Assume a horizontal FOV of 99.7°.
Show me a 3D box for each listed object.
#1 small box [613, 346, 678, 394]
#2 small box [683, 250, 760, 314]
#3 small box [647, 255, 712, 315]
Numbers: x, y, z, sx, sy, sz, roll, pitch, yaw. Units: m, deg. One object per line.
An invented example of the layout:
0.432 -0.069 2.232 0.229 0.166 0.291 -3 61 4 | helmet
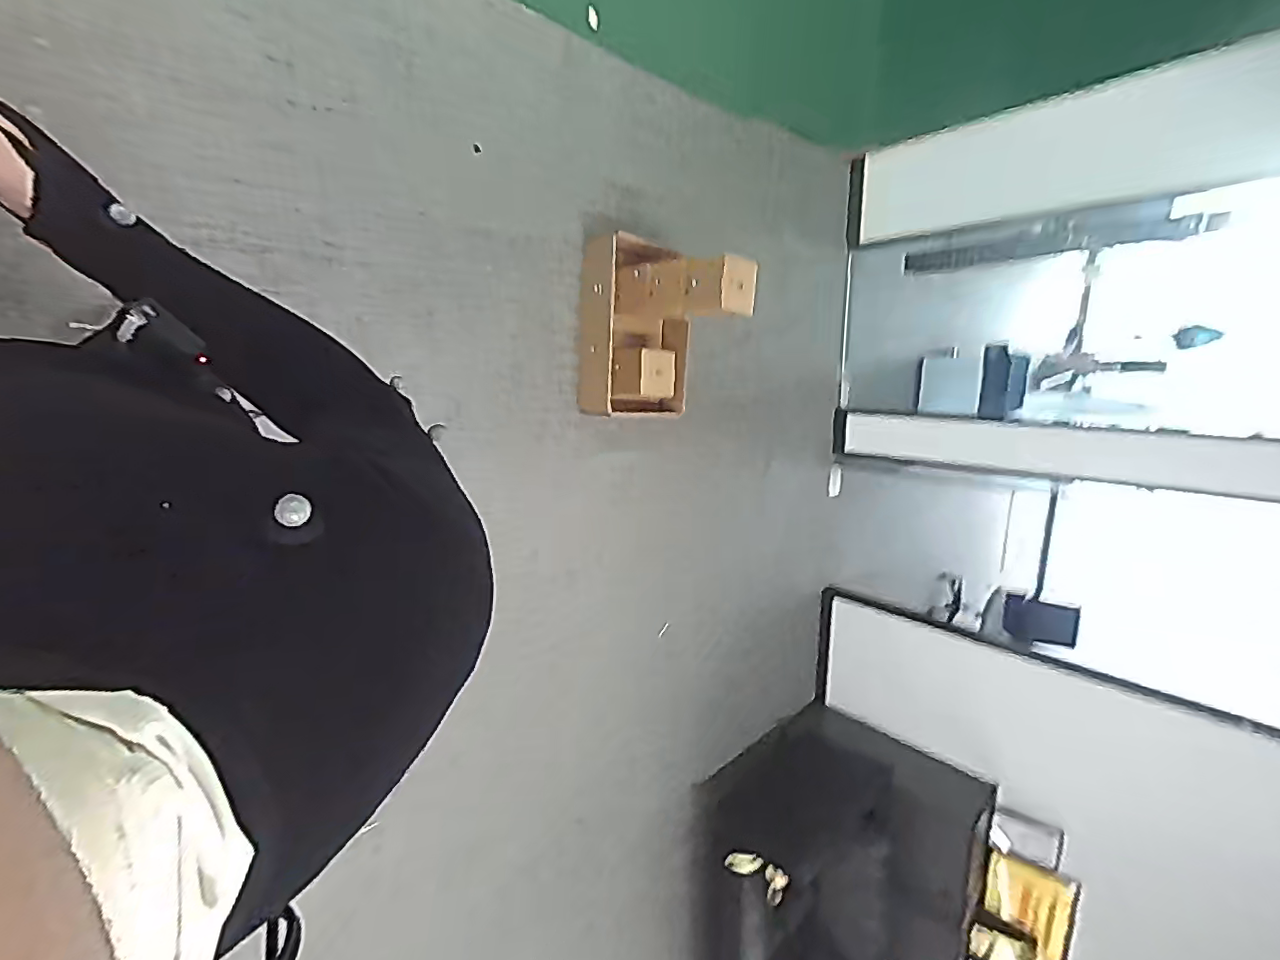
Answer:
0.020 -0.412 2.033 0.179 0.176 0.168 -6 101 -42 | small box
0.265 -0.638 1.761 0.179 0.176 0.168 -5 103 -43 | small box
0.148 -0.668 1.874 0.179 0.176 0.168 -6 104 -43 | small box
